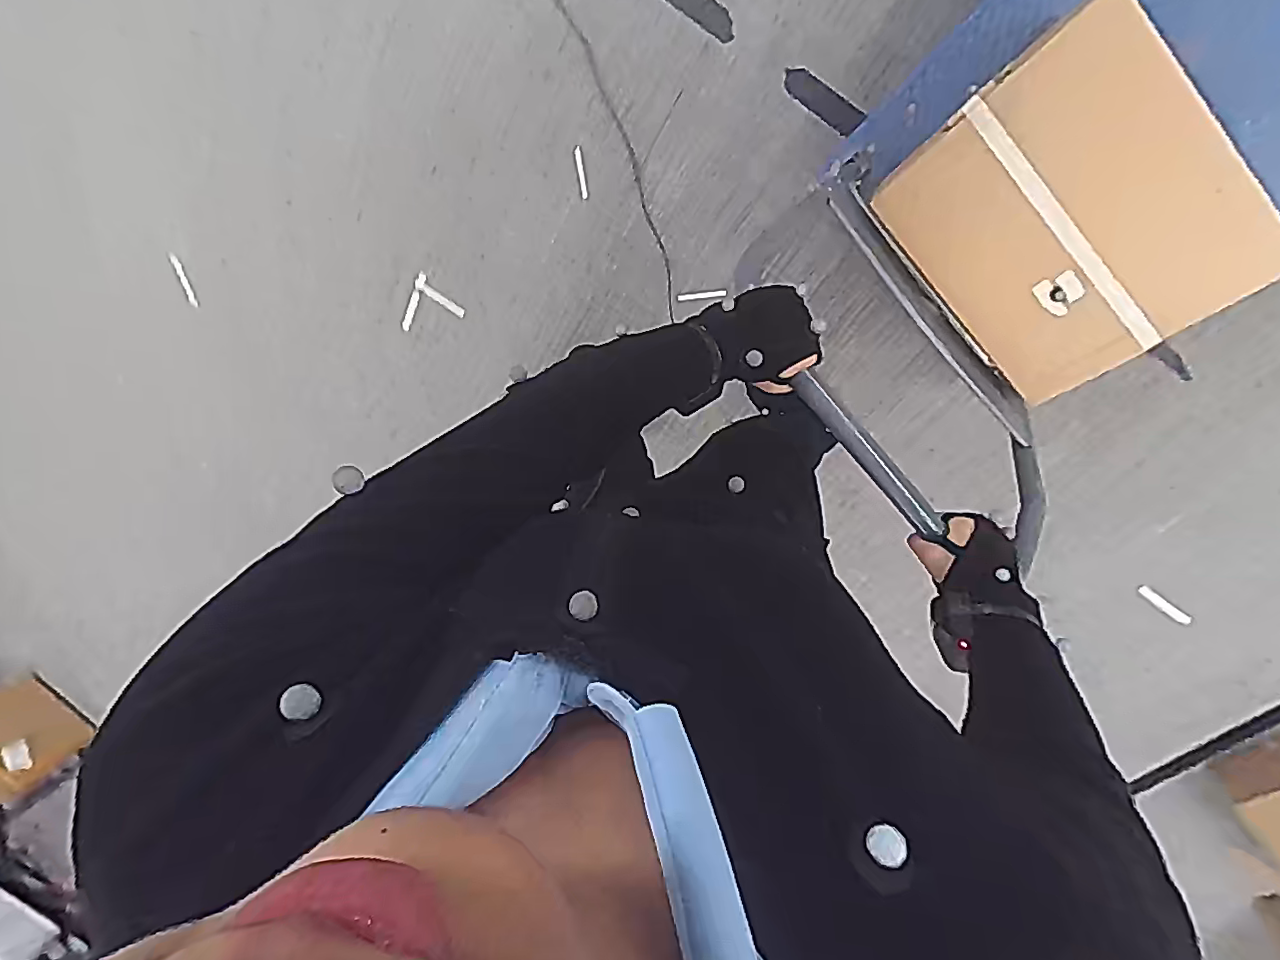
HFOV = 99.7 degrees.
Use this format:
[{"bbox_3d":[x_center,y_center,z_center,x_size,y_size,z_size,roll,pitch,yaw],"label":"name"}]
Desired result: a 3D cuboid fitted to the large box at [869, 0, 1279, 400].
[{"bbox_3d":[0.619,-0.411,0.841,0.408,0.320,0.320,46,131,-8],"label":"large box"}]
